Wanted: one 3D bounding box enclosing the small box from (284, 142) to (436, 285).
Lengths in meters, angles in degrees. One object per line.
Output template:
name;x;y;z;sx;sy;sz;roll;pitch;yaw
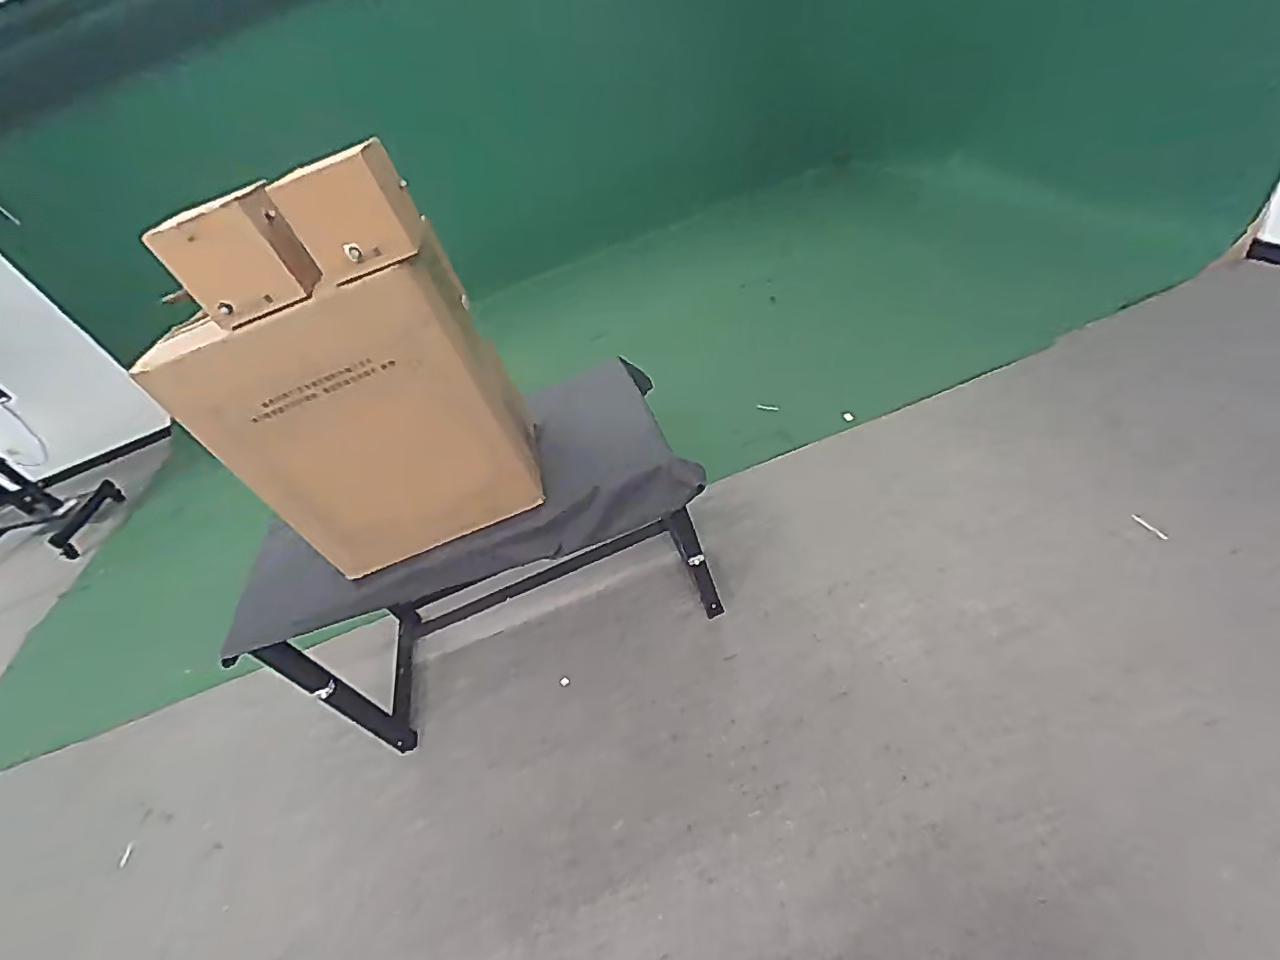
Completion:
small box;-0.490;-0.480;0.978;0.168;0.176;0.179;-21;41;2
